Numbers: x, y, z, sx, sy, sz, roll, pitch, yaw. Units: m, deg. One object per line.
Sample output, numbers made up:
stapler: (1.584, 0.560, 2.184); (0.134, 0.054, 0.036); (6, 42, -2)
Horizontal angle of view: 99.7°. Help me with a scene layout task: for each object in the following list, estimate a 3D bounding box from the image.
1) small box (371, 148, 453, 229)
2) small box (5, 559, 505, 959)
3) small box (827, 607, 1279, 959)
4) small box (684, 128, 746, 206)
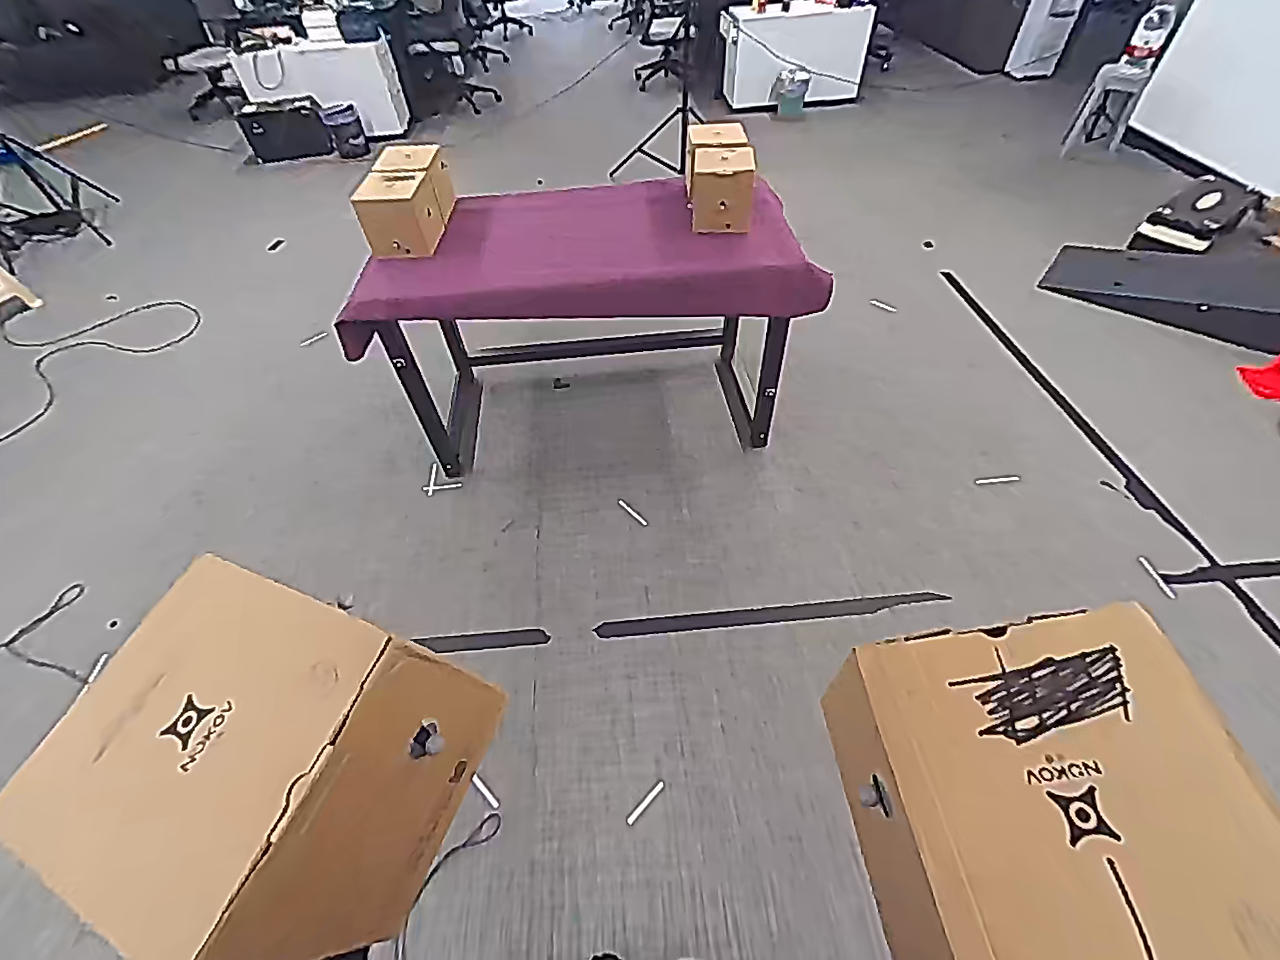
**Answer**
small box: (-0.687, -0.893, 1.657); (0.168, 0.176, 0.179); (-2, 51, 1)
small box: (-0.222, 0.180, 0.364); (0.179, 0.176, 0.168); (13, 61, 21)
small box: (0.229, 0.201, 0.339); (0.168, 0.176, 0.179); (-11, 57, 4)
small box: (0.227, -0.975, 1.684); (0.168, 0.176, 0.179); (-2, 49, 0)
